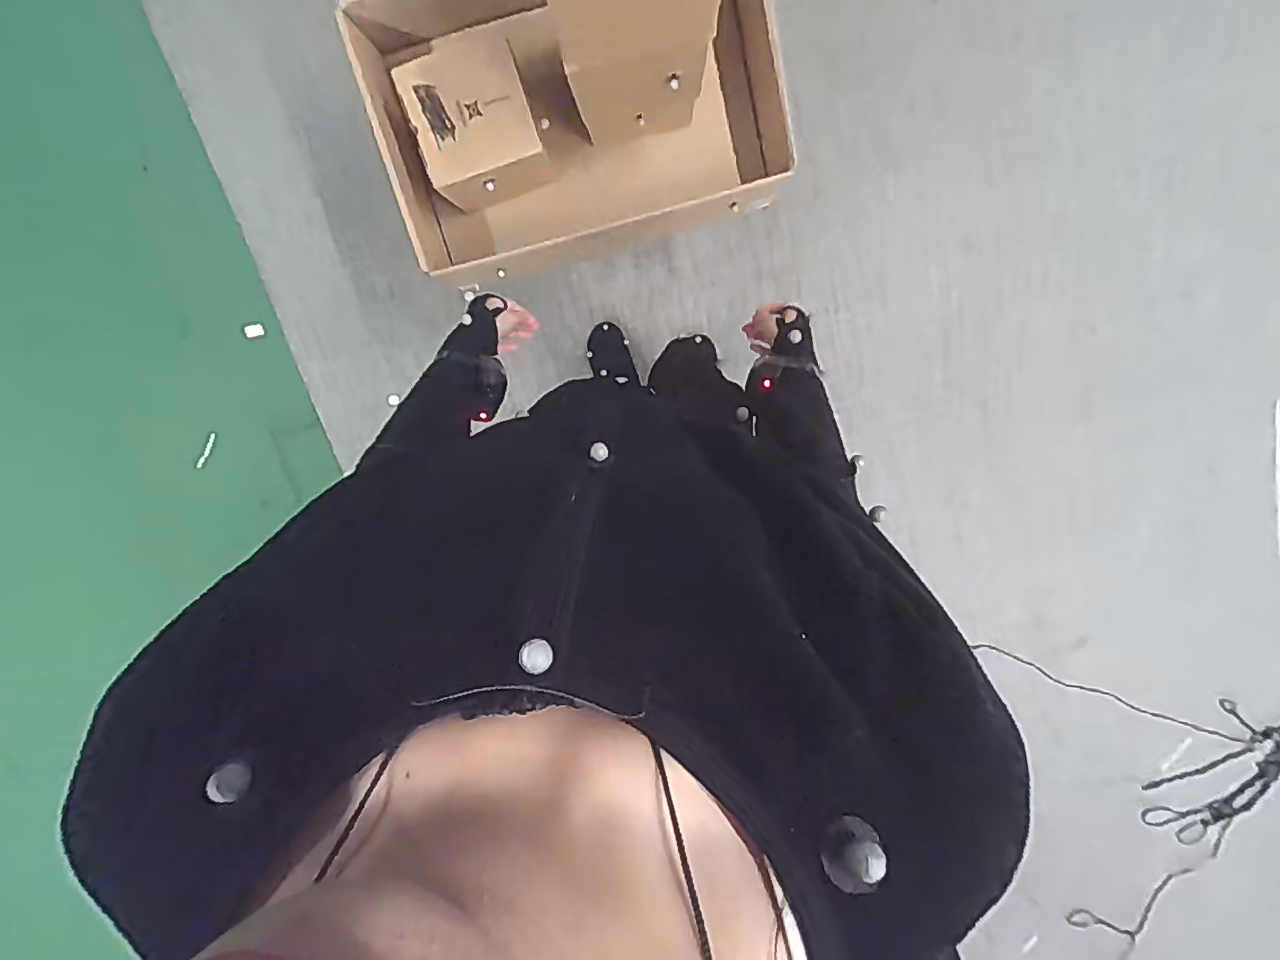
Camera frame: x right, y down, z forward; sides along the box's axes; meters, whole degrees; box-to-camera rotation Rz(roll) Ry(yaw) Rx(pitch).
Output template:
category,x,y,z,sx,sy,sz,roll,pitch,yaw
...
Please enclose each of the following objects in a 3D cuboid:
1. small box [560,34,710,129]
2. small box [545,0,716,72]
category,x,y,z,sx,sy,sz,roll,pitch,yaw
small box,-0.015,-0.581,0.688,0.179,0.176,0.168,-10,104,5
small box,-0.017,-0.542,0.531,0.179,0.176,0.168,-9,103,4
